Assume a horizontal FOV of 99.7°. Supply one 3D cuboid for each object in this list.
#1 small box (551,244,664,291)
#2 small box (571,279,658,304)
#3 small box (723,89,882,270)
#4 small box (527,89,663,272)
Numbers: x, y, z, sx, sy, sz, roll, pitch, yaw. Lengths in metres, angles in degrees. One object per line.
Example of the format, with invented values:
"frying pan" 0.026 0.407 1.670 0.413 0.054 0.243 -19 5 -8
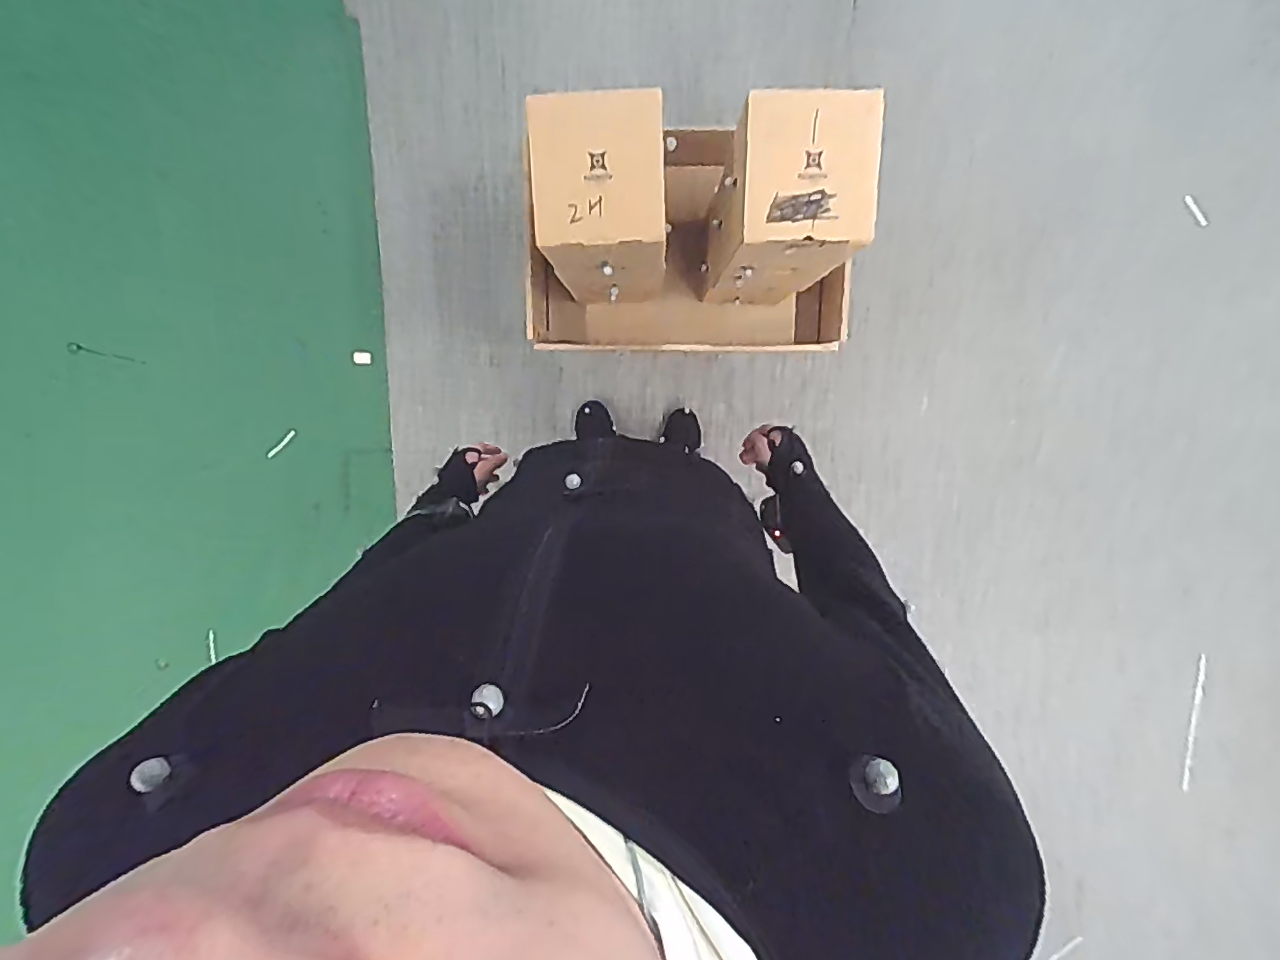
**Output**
"small box" -0.054 -0.417 0.905 0.179 0.176 0.168 -2 99 0
"small box" -0.053 -0.444 1.067 0.179 0.176 0.168 -1 99 -1
"small box" 0.208 -0.394 0.739 0.168 0.176 0.179 1 98 0
"small box" -0.054 -0.395 0.741 0.168 0.176 0.179 -1 100 1
